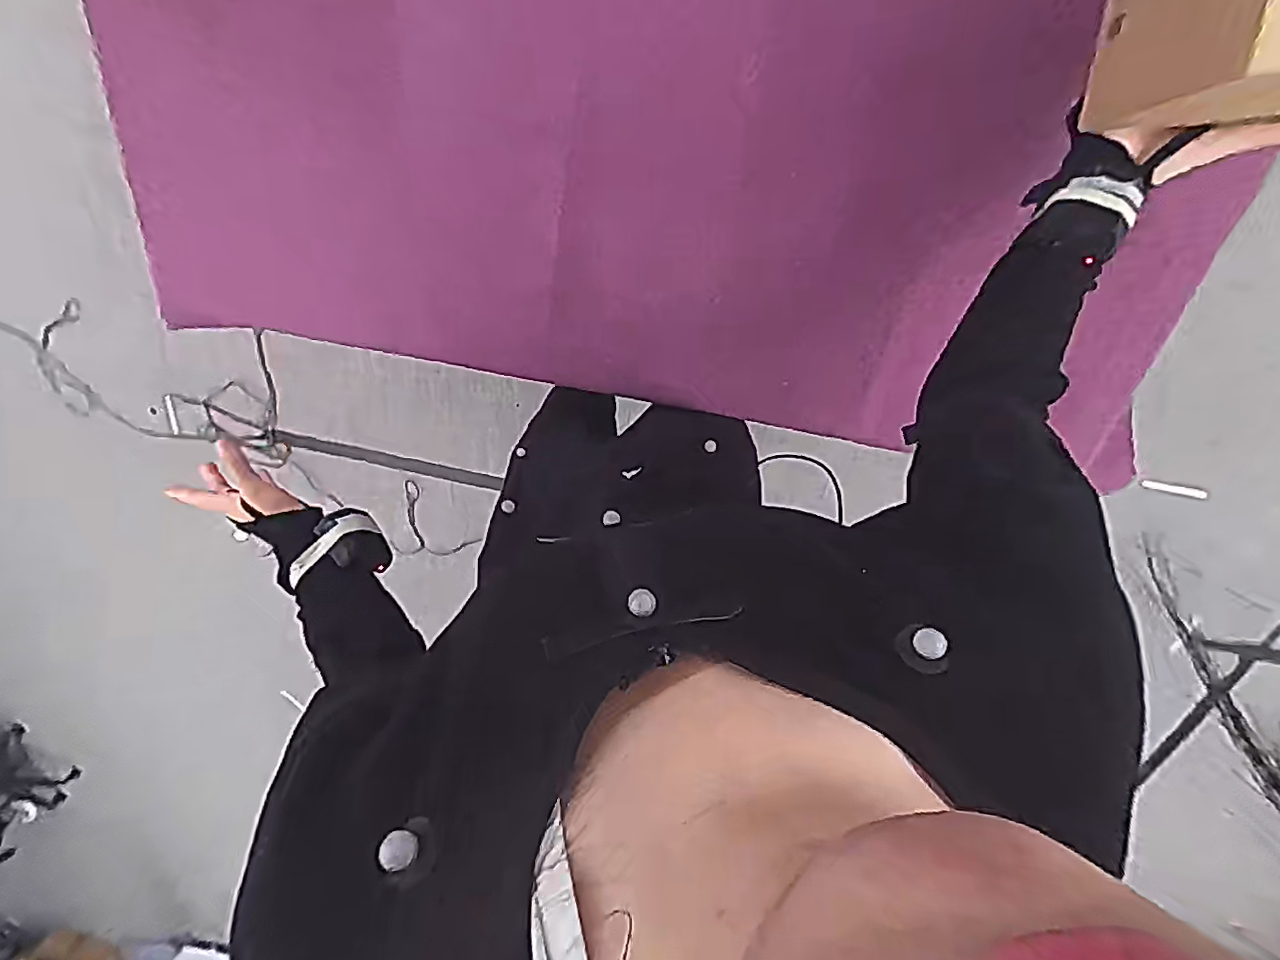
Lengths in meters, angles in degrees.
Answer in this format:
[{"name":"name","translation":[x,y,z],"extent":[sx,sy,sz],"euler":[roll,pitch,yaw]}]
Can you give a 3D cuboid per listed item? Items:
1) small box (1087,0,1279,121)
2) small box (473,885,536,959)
[{"name":"small box","translation":[0.412,-0.319,0.308],"extent":[0.179,0.176,0.168],"euler":[3,115,10]},{"name":"small box","translation":[-0.463,1.522,1.837],"extent":[0.168,0.176,0.179],"euler":[16,118,2]}]
